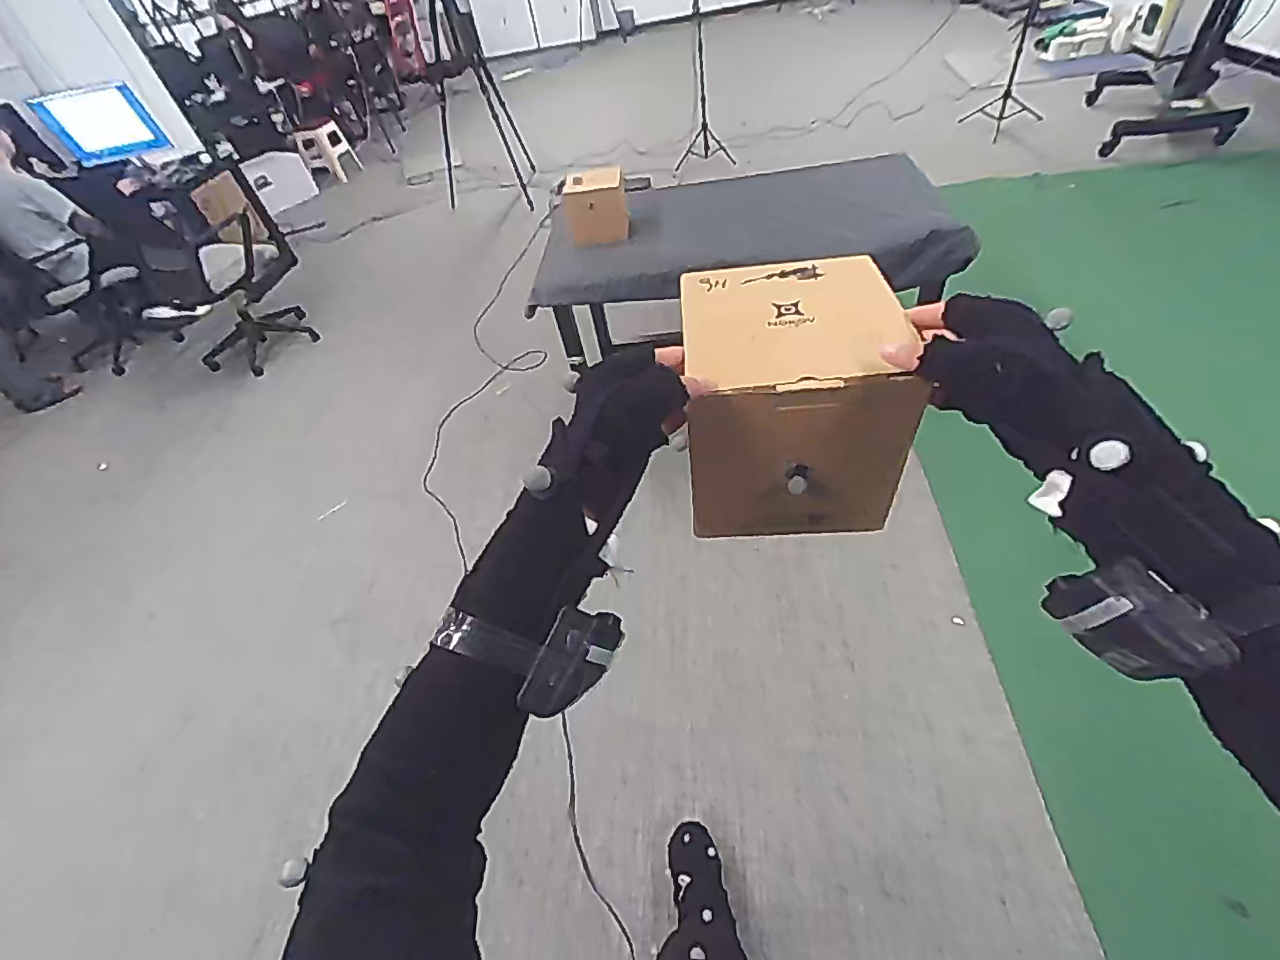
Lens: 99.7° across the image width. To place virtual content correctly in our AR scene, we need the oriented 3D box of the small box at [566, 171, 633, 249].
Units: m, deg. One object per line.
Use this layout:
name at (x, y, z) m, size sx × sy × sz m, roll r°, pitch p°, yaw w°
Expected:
small box at (-0.123, -0.855, 1.721) m, size 0.179 × 0.176 × 0.168 m, roll -4°, pitch 47°, yaw 6°

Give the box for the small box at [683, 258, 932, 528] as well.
small box at (0.127, -0.068, 0.479) m, size 0.168 × 0.176 × 0.179 m, roll -3°, pitch 47°, yaw 6°
